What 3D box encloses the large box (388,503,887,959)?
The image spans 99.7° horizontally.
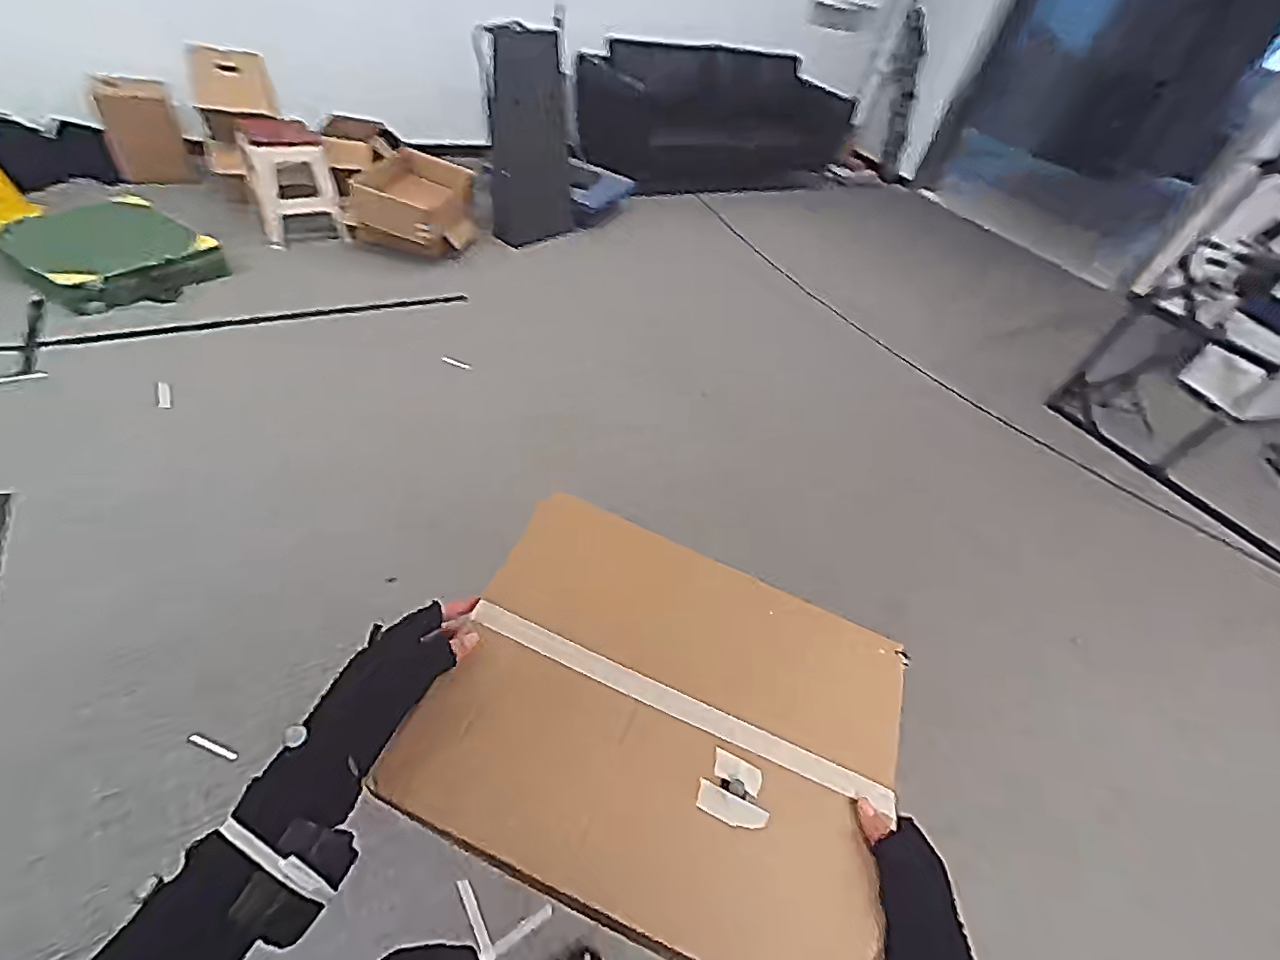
[{"bbox_3d":[0.003,0.293,0.618,0.408,0.320,0.320,24,53,4],"label":"large box"}]
